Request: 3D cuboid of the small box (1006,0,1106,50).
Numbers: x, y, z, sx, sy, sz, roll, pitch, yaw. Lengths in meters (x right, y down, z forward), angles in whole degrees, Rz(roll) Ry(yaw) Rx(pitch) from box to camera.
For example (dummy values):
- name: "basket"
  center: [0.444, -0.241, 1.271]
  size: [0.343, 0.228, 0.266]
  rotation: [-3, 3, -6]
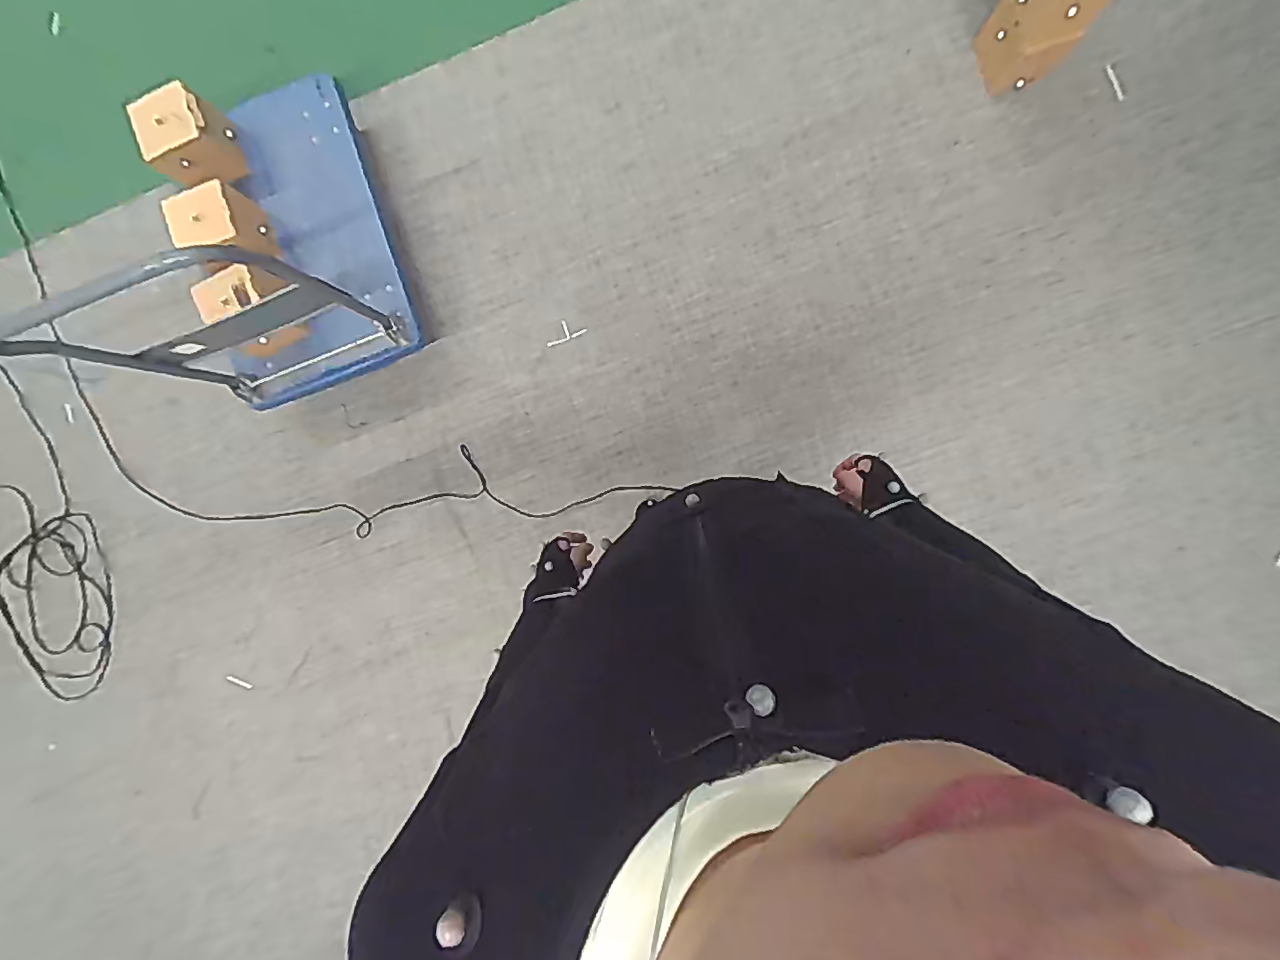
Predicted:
- name: "small box"
  center: [1.051, -1.231, 1.347]
  size: [0.179, 0.176, 0.168]
  rotation: [-15, 88, 6]

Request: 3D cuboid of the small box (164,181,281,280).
- name: "small box"
  center: [-1.163, -0.690, 1.518]
  size: [0.179, 0.176, 0.168]
  rotation: [-19, 87, 3]

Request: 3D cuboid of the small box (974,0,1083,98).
- name: "small box"
  center: [1.072, -1.224, 1.509]
  size: [0.168, 0.176, 0.179]
  rotation: [-15, 88, 5]

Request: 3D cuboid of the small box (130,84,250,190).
- name: "small box"
  center: [-1.261, -0.952, 1.526]
  size: [0.179, 0.176, 0.168]
  rotation: [-20, 89, 4]
